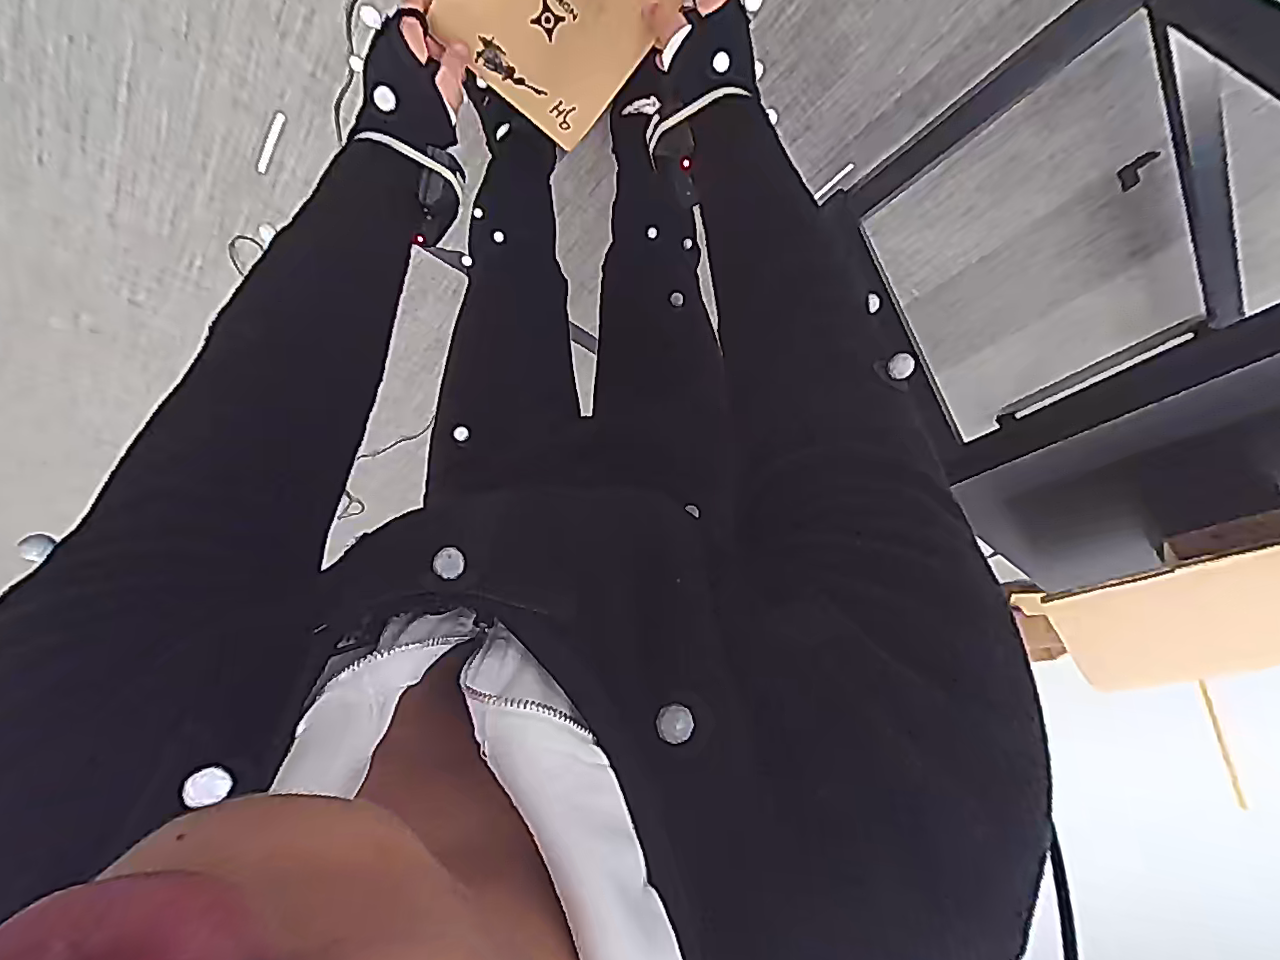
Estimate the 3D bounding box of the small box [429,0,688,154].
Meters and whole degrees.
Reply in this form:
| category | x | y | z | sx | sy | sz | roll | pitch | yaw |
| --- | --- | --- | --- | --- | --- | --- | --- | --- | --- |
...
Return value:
| category | x | y | z | sx | sy | sz | roll | pitch | yaw |
| --- | --- | --- | --- | --- | --- | --- | --- | --- | --- |
| small box | -0.080 | -0.476 | 0.520 | 0.168 | 0.176 | 0.179 | 24 | 136 | -37 |
